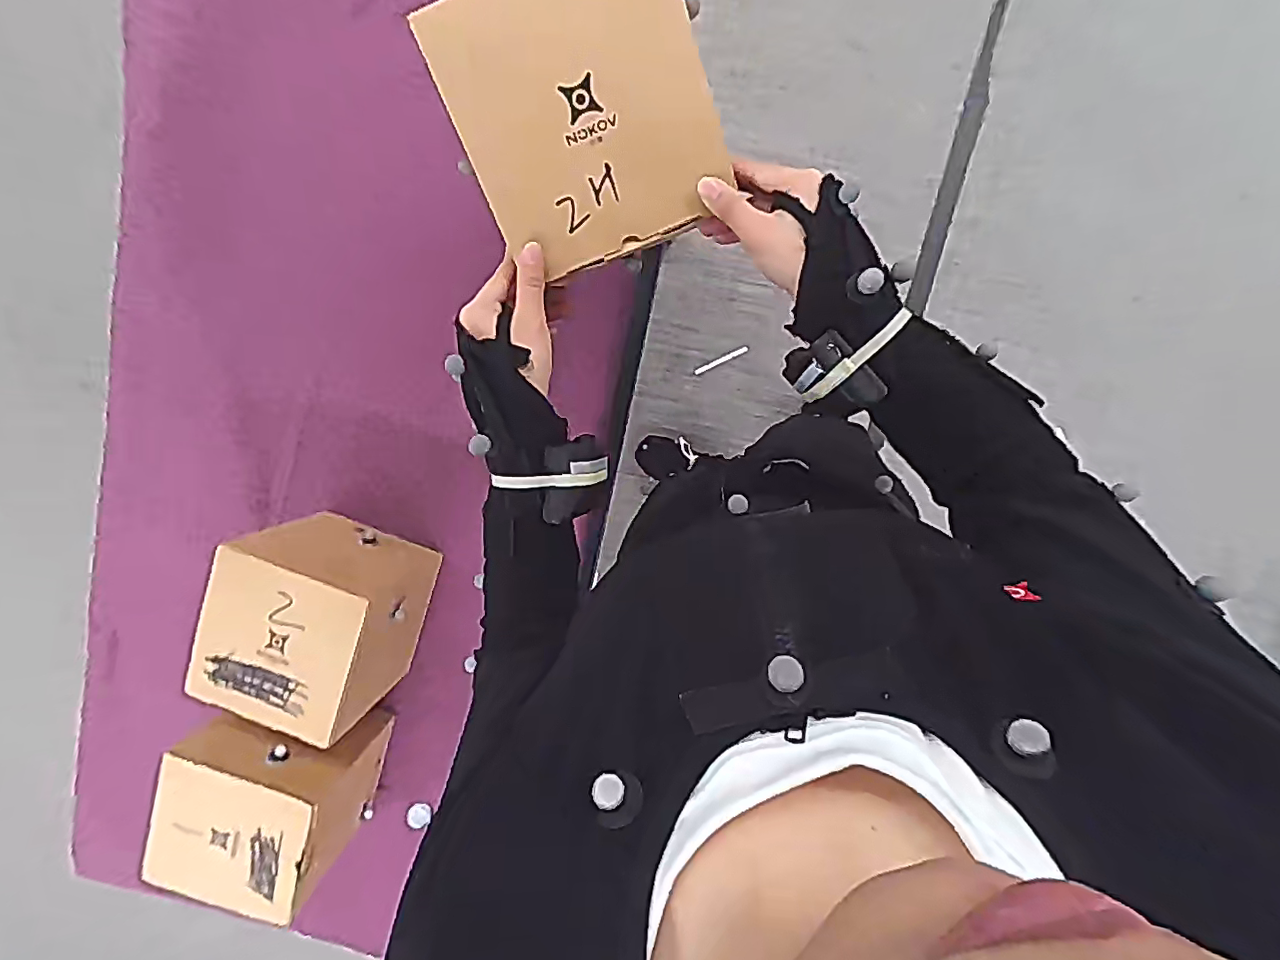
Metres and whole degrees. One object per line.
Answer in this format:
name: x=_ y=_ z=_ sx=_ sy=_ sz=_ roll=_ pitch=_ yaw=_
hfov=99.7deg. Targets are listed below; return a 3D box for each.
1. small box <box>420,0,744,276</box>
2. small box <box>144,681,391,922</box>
small box: x=-0.035 y=-0.275 z=0.427 sx=0.168 sy=0.176 sz=0.179 roll=-20 pitch=110 yaw=6
small box: x=-0.440 y=0.377 z=0.665 sx=0.179 sy=0.176 sz=0.168 roll=18 pitch=99 yaw=1
